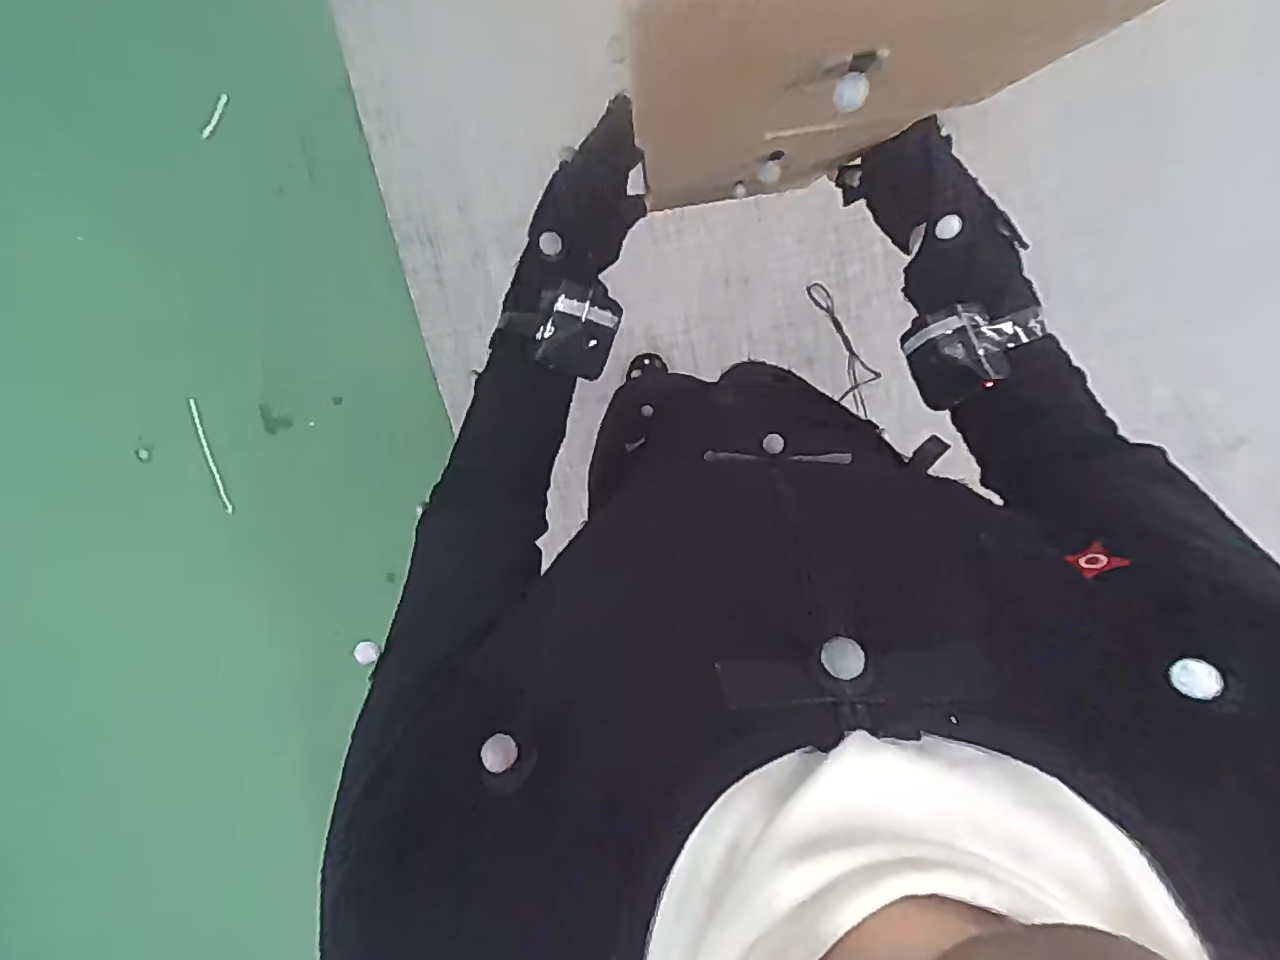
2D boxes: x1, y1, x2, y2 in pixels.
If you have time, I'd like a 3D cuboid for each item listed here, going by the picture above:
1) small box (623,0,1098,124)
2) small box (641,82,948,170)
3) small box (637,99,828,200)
[{"bbox_3d":[0.076,-0.244,0.182,0.179,0.176,0.168,-5,109,4],"label":"small box"},{"bbox_3d":[0.077,-0.307,0.335,0.168,0.176,0.179,-6,110,3],"label":"small box"},{"bbox_3d":[0.084,-0.365,0.488,0.179,0.176,0.168,-8,110,3],"label":"small box"}]
